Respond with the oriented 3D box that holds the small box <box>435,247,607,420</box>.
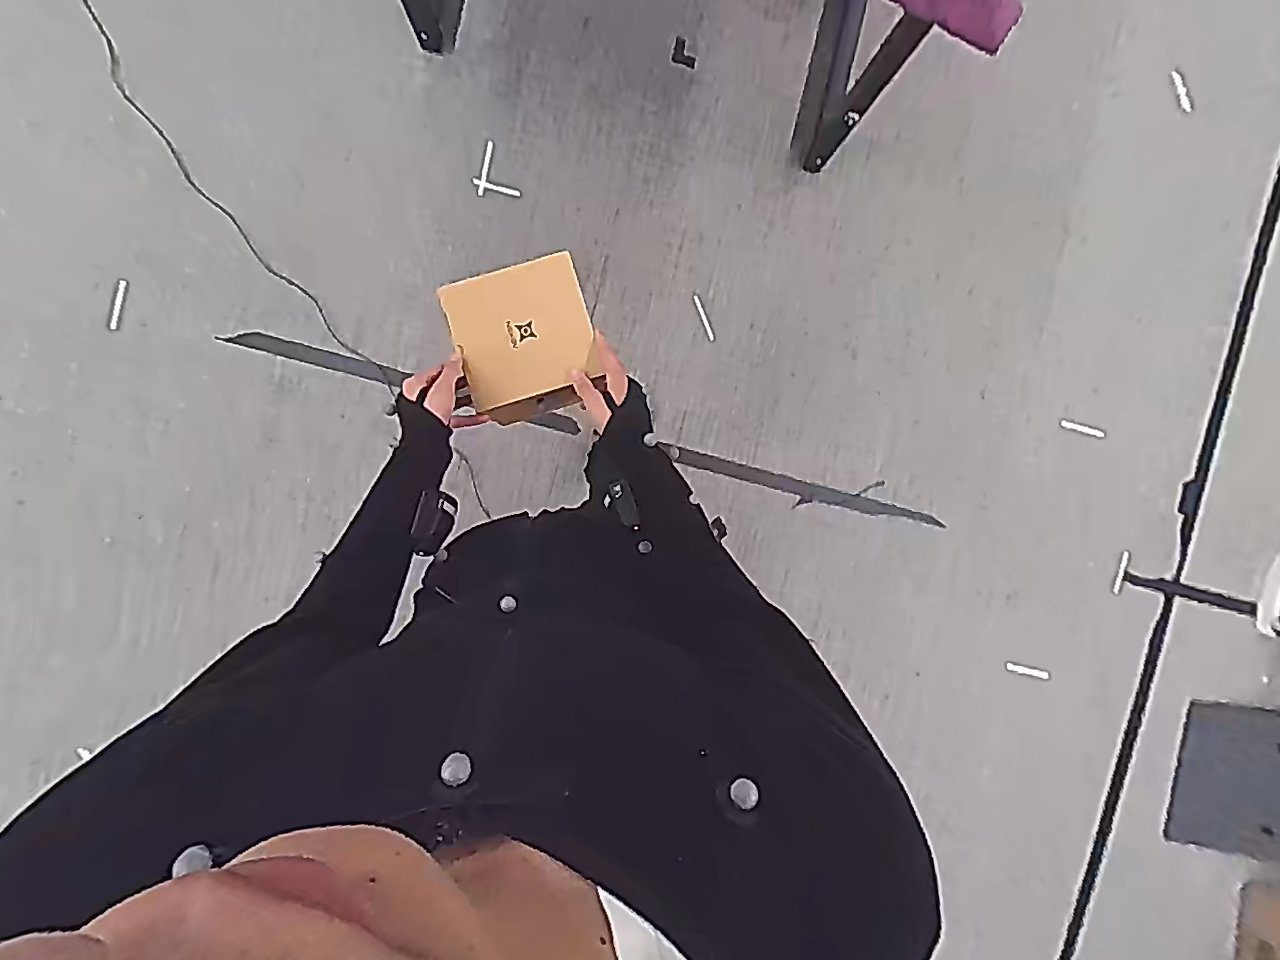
[{"bbox_3d":[-0.151,-0.190,0.750,0.179,0.176,0.168,-18,91,-2],"label":"small box"}]
